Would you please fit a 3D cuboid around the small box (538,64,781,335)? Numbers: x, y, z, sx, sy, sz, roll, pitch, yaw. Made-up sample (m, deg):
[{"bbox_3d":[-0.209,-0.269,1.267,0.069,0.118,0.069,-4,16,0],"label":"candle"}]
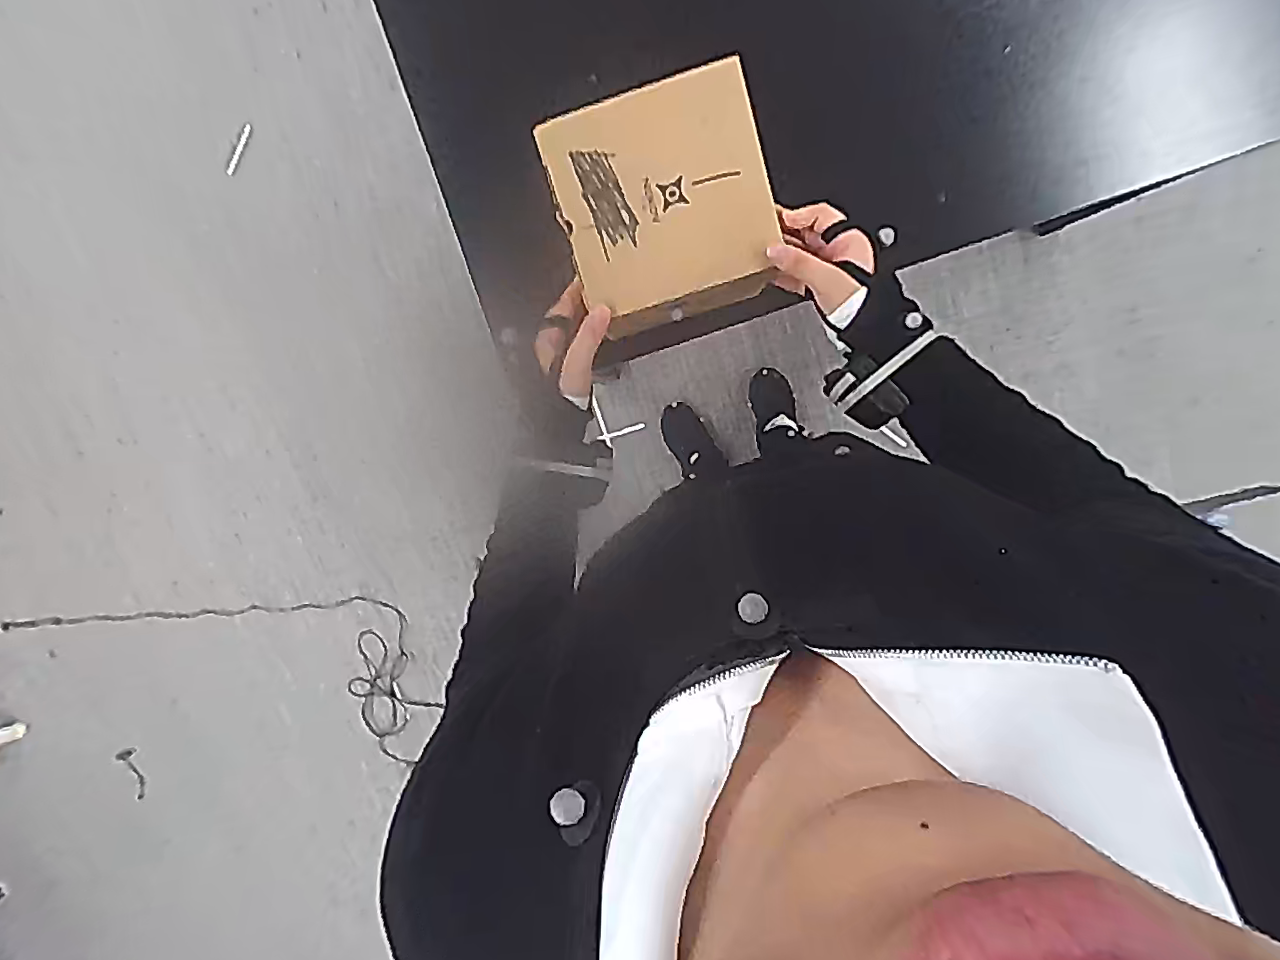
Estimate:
[{"bbox_3d":[0.022,-0.251,0.536,0.179,0.176,0.168,-16,99,5],"label":"small box"}]
